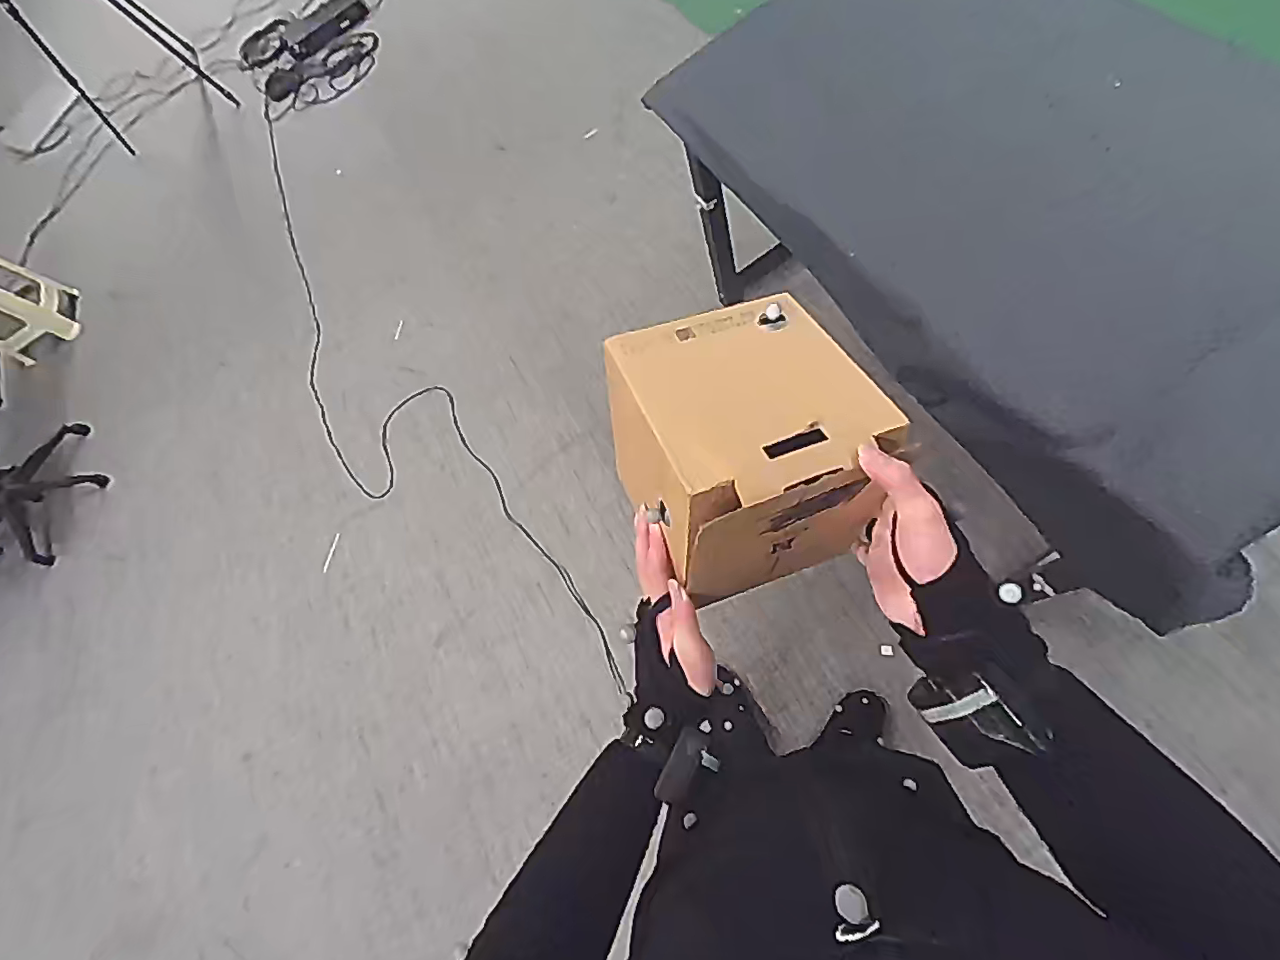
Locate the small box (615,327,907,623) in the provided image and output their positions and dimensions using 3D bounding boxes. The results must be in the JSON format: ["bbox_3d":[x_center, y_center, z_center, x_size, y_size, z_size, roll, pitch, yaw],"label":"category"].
[{"bbox_3d":[0.082,-0.011,0.467,0.168,0.179,0.176,-17,54,-11],"label":"small box"}]
